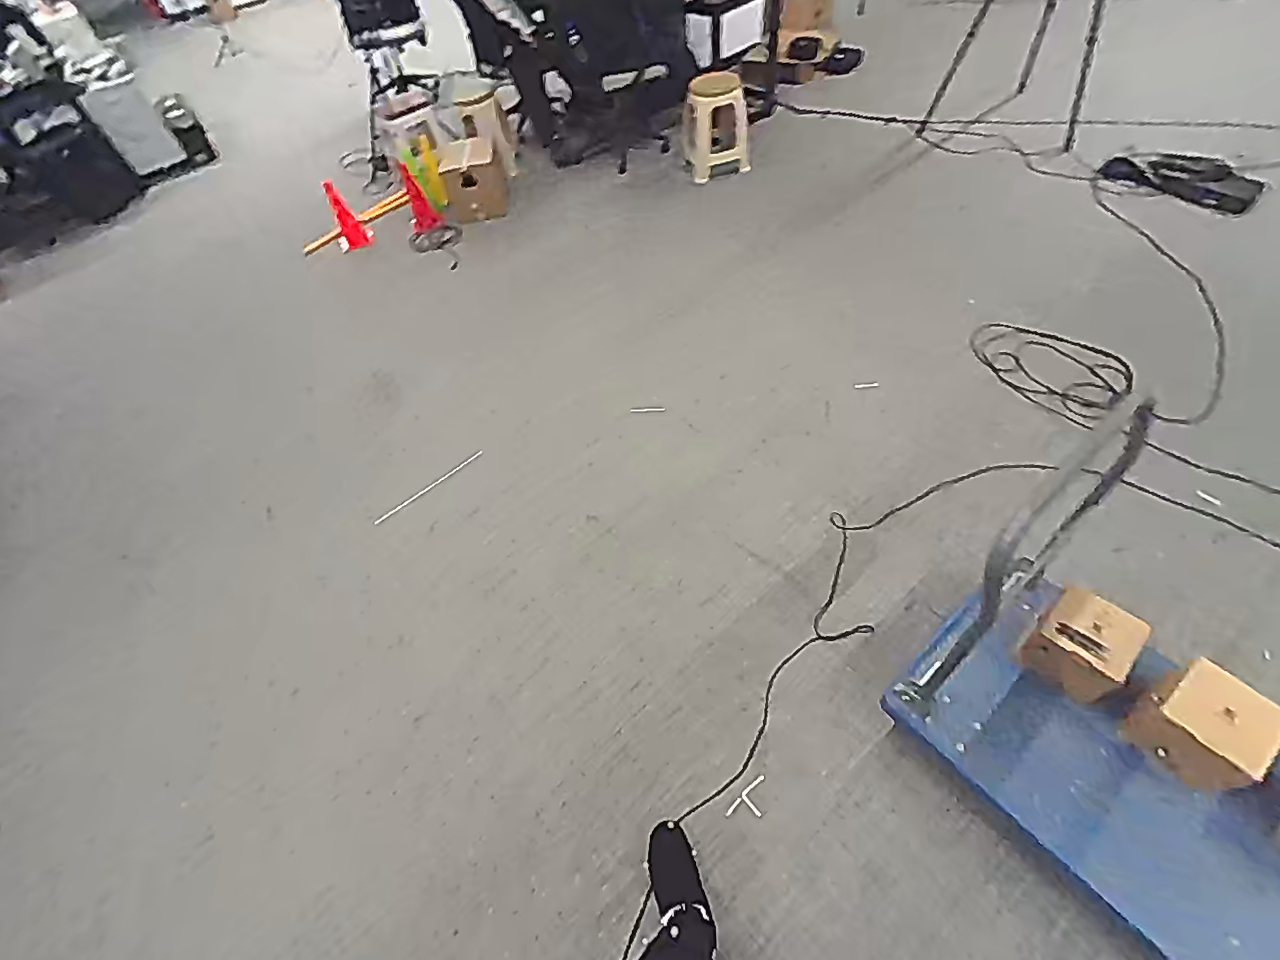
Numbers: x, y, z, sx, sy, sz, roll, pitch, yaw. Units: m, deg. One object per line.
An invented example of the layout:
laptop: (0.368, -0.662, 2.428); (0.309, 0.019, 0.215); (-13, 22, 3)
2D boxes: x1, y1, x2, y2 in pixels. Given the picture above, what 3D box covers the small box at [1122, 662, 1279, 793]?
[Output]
small box: (1.184, 0.524, 1.142); (0.179, 0.176, 0.168); (-37, 57, -17)
